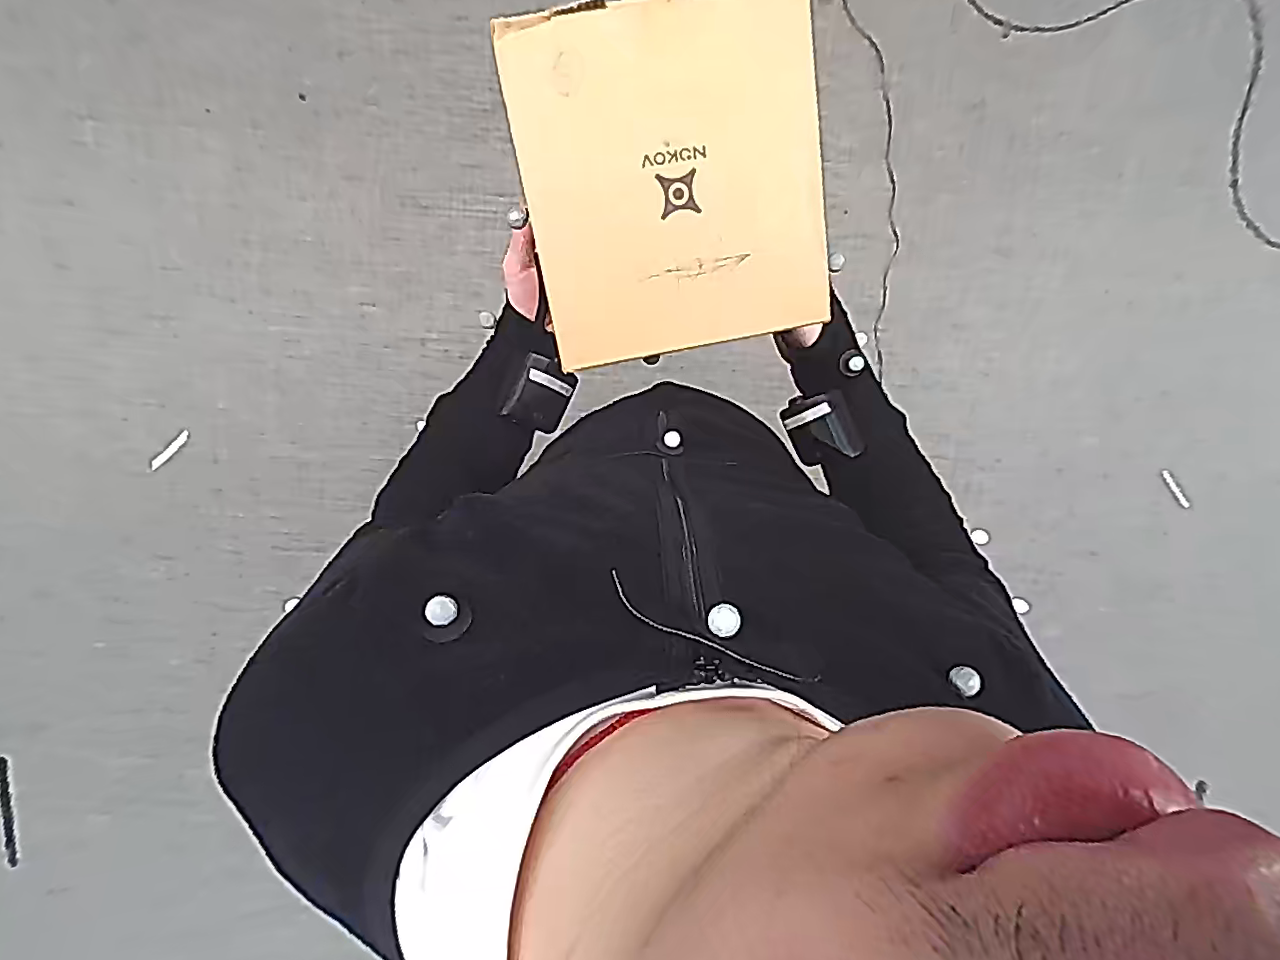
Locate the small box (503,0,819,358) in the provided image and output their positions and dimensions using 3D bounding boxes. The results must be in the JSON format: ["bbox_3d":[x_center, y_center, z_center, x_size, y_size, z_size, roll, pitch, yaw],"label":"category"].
[{"bbox_3d":[0.009,-0.190,0.383,0.168,0.176,0.179,-11,108,-4],"label":"small box"}]
